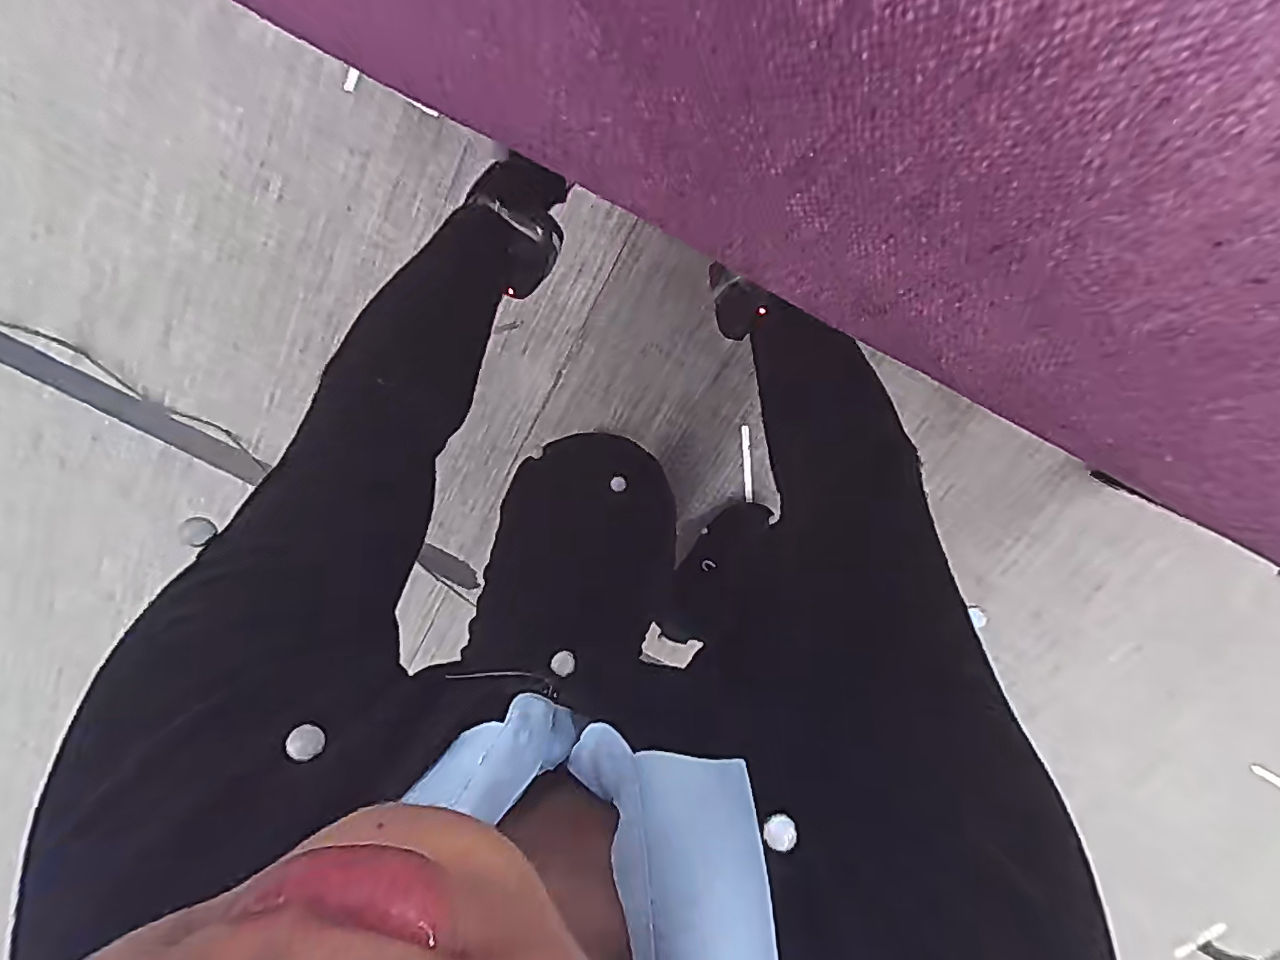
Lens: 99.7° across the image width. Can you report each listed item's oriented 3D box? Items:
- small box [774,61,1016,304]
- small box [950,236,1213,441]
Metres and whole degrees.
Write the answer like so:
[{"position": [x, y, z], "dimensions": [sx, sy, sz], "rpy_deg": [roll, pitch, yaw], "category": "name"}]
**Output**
[{"position": [0.279, -0.333, 0.646], "dimensions": [0.168, 0.176, 0.179], "rpy_deg": [29, 108, -10], "category": "small box"}, {"position": [0.543, -0.184, 0.702], "dimensions": [0.168, 0.176, 0.179], "rpy_deg": [36, 106, -12], "category": "small box"}]
